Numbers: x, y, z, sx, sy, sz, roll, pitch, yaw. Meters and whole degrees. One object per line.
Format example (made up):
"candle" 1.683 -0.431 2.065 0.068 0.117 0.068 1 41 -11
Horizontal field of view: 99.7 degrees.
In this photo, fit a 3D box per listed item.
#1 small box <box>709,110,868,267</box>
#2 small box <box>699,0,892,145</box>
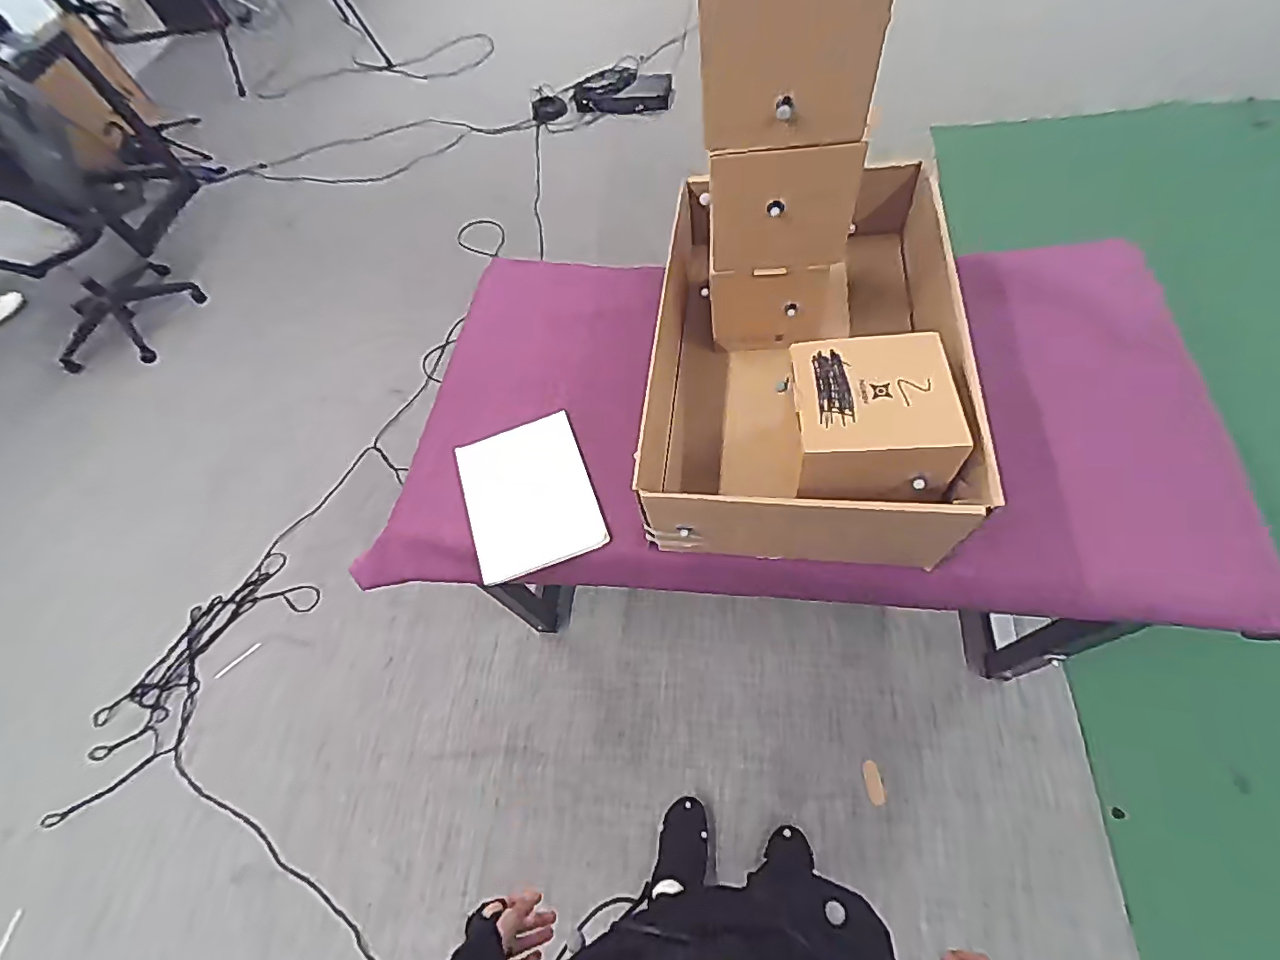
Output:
"small box" 0.181 -0.402 0.707 0.179 0.176 0.168 0 62 10
"small box" 0.156 -0.483 0.566 0.179 0.176 0.168 3 62 9
